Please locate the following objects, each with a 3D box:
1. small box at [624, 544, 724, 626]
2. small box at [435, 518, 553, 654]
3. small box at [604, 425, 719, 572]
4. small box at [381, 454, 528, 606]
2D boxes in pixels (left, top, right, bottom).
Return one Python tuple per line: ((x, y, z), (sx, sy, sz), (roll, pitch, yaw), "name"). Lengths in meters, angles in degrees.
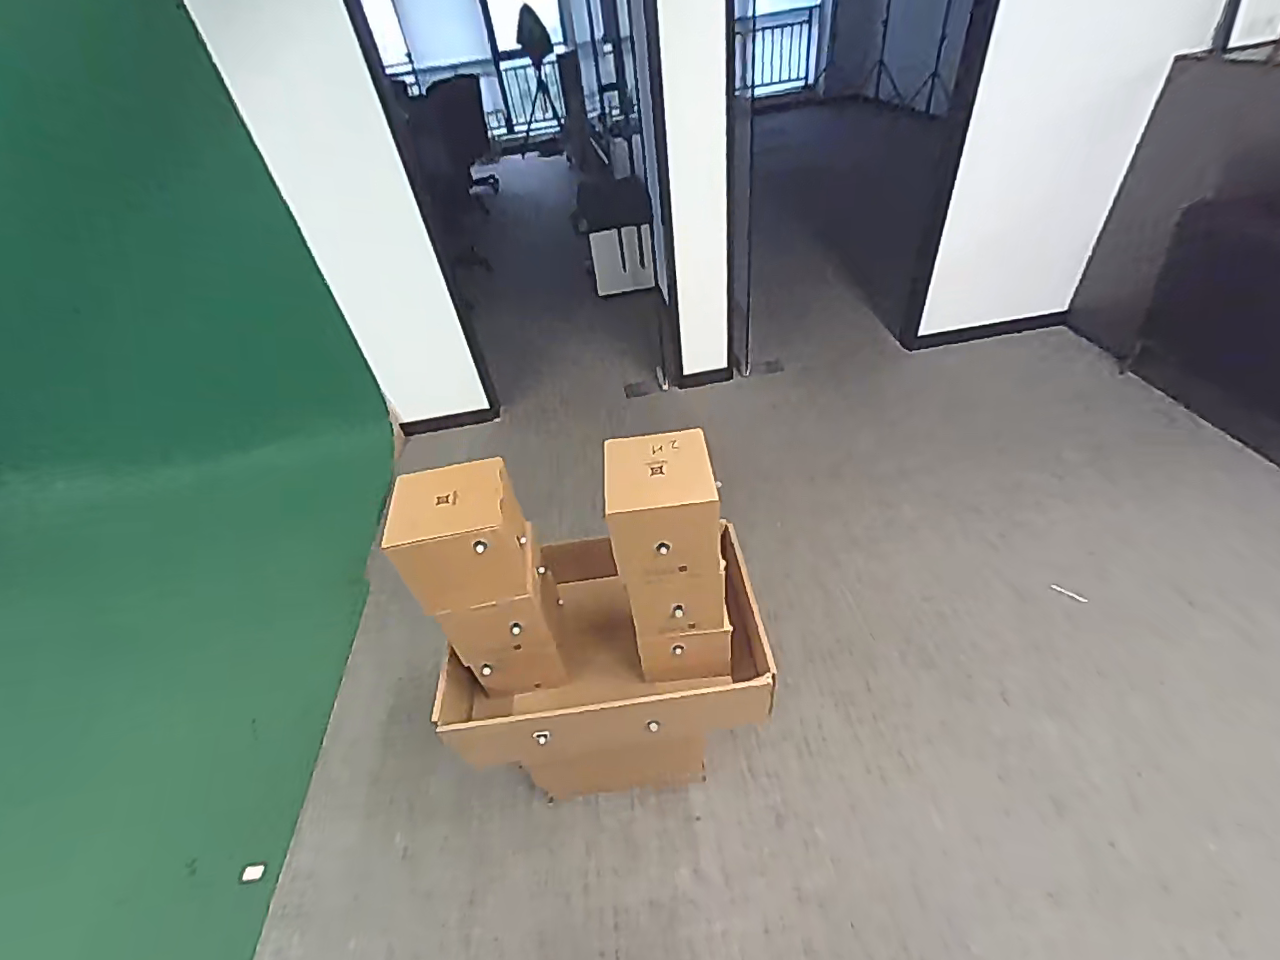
((0.061, 0.153, 0.995), (0.168, 0.176, 0.179), (-7, 43, 2), "small box")
((-0.260, 0.201, 0.999), (0.168, 0.176, 0.179), (-11, 42, -3), "small box")
((0.035, 0.035, 0.881), (0.168, 0.176, 0.179), (-6, 42, 2), "small box")
((-0.292, 0.084, 0.889), (0.179, 0.176, 0.168), (-11, 42, -4), "small box")
